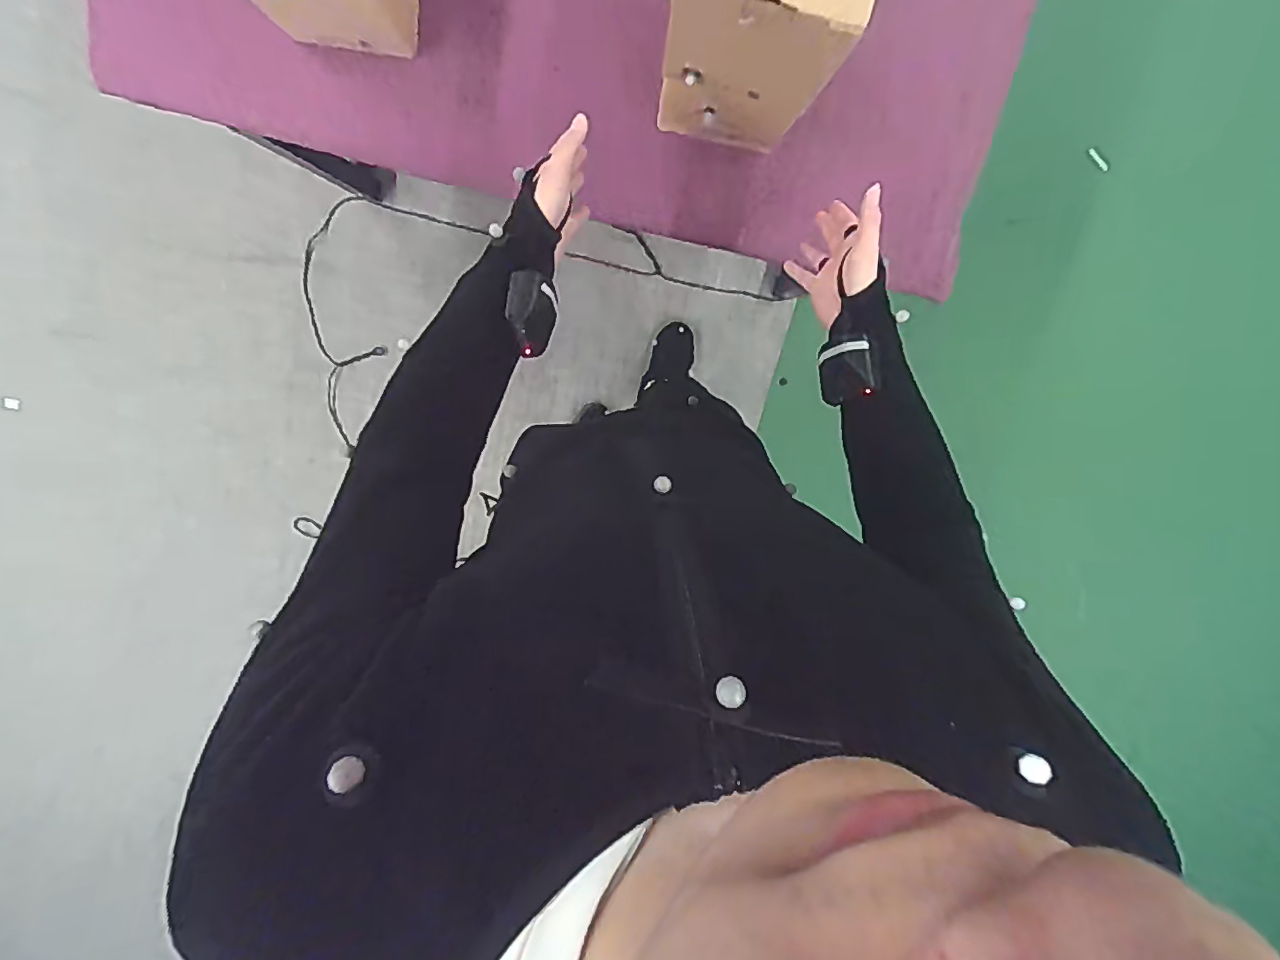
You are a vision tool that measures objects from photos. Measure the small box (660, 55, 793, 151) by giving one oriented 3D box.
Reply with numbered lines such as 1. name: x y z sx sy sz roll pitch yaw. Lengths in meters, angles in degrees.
1. small box: 0.120 -0.538 0.665 0.168 0.176 0.179 10 103 -4

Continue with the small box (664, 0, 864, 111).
1. small box: 0.121 -0.489 0.507 0.168 0.176 0.179 13 102 -5

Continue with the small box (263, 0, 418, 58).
1. small box: -0.366 -0.639 0.623 0.168 0.176 0.179 7 104 -3
